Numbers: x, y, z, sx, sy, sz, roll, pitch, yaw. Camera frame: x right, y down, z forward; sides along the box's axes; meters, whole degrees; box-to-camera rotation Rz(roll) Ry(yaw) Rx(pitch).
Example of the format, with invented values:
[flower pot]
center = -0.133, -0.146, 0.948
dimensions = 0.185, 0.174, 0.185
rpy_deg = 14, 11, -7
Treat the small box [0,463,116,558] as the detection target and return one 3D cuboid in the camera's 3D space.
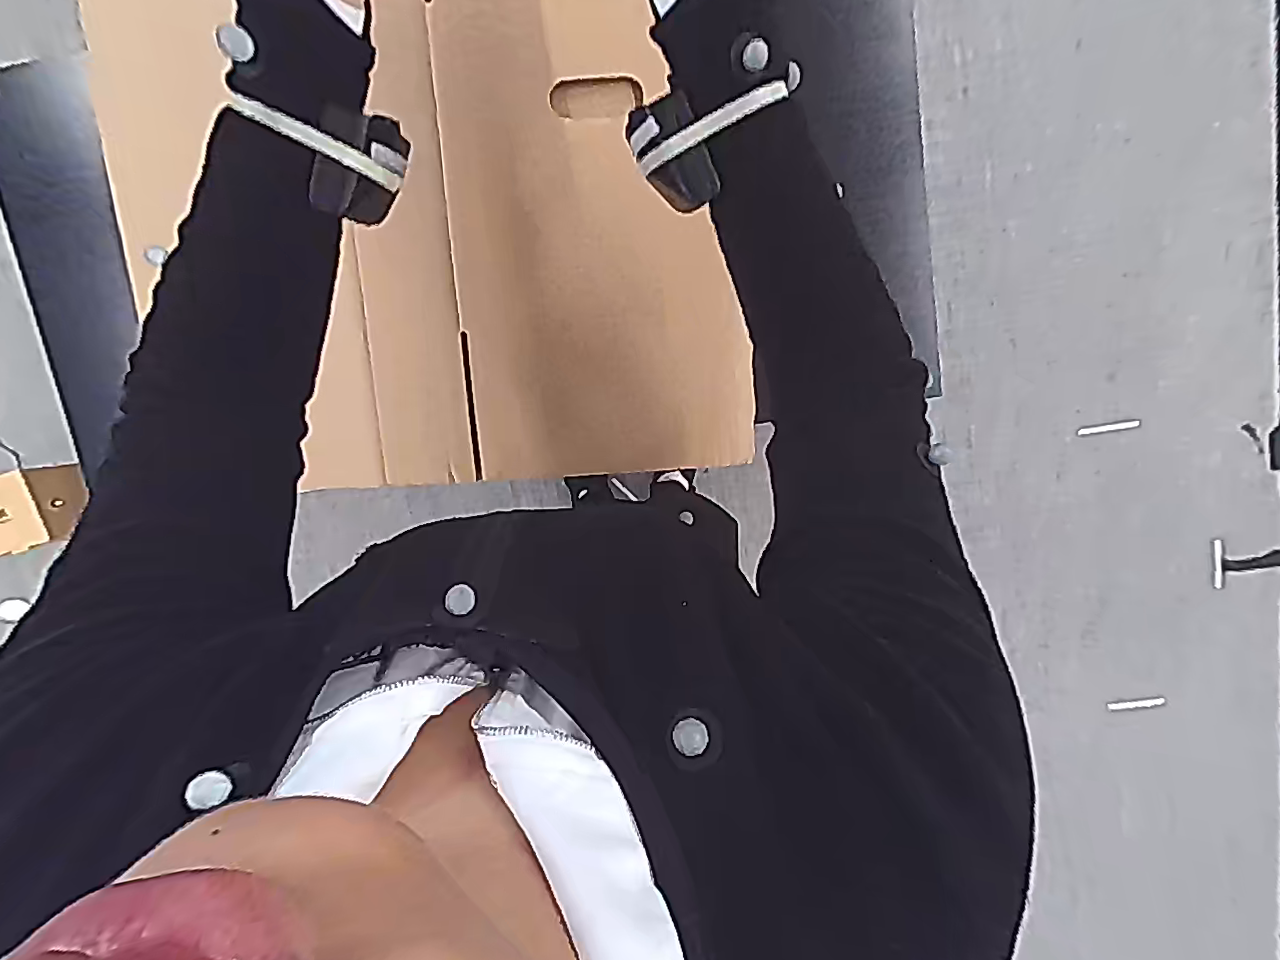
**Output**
[small box]
center = -1.438, 0.068, 1.305
dimensions = 0.168, 0.176, 0.179
rpy_deg = -15, 97, 4
